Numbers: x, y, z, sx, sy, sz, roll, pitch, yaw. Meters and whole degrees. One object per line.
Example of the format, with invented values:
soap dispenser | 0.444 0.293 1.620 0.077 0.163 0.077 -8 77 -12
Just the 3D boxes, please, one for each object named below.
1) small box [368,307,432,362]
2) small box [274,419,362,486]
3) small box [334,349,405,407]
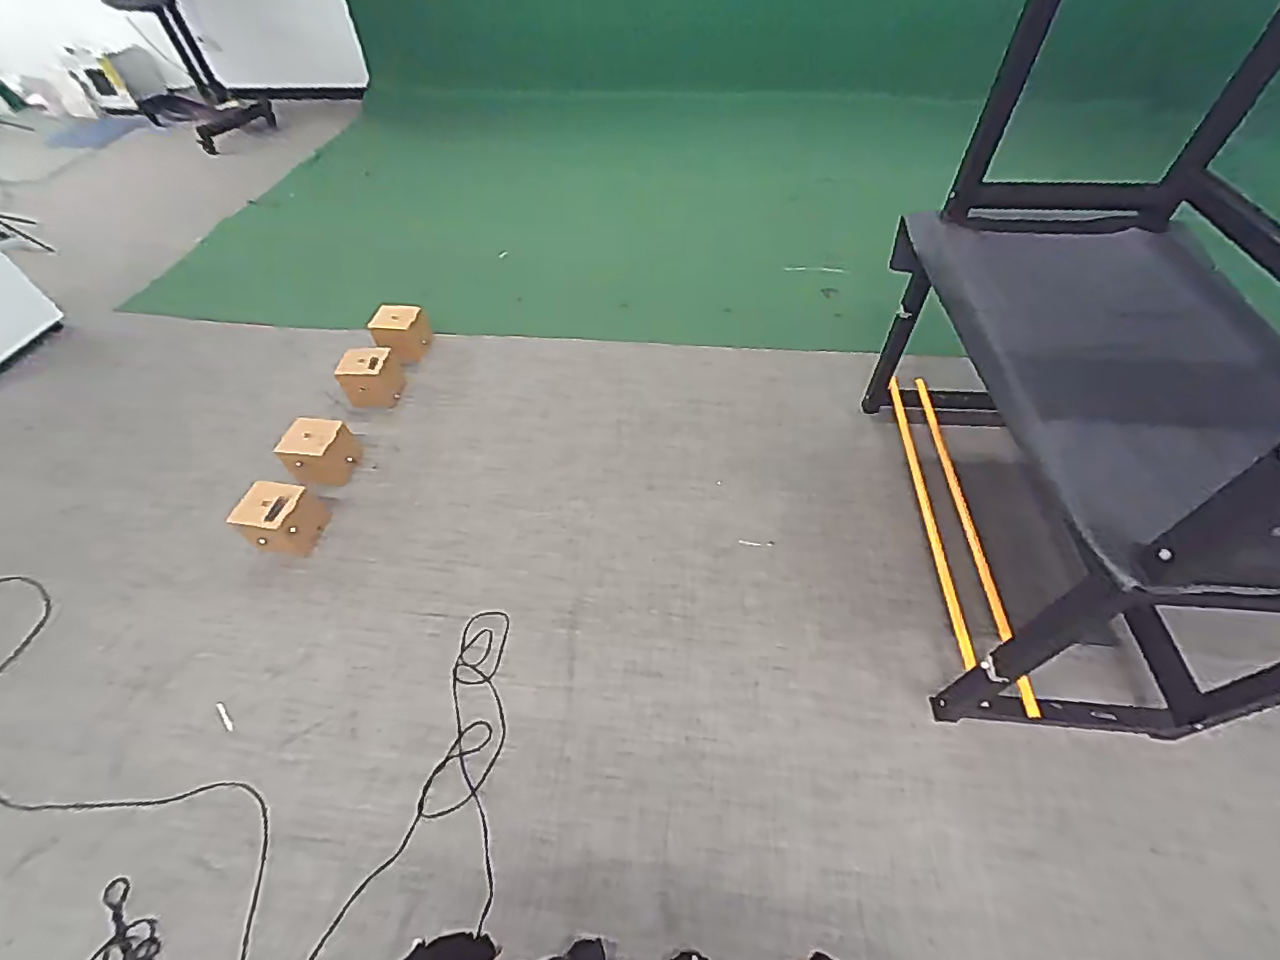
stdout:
small box | -1.032 -0.626 2.340 0.179 0.176 0.168 4 52 4
small box | -1.122 -0.095 1.900 0.179 0.176 0.168 5 52 5
small box | -1.069 -0.403 2.155 0.179 0.176 0.168 0 50 3
